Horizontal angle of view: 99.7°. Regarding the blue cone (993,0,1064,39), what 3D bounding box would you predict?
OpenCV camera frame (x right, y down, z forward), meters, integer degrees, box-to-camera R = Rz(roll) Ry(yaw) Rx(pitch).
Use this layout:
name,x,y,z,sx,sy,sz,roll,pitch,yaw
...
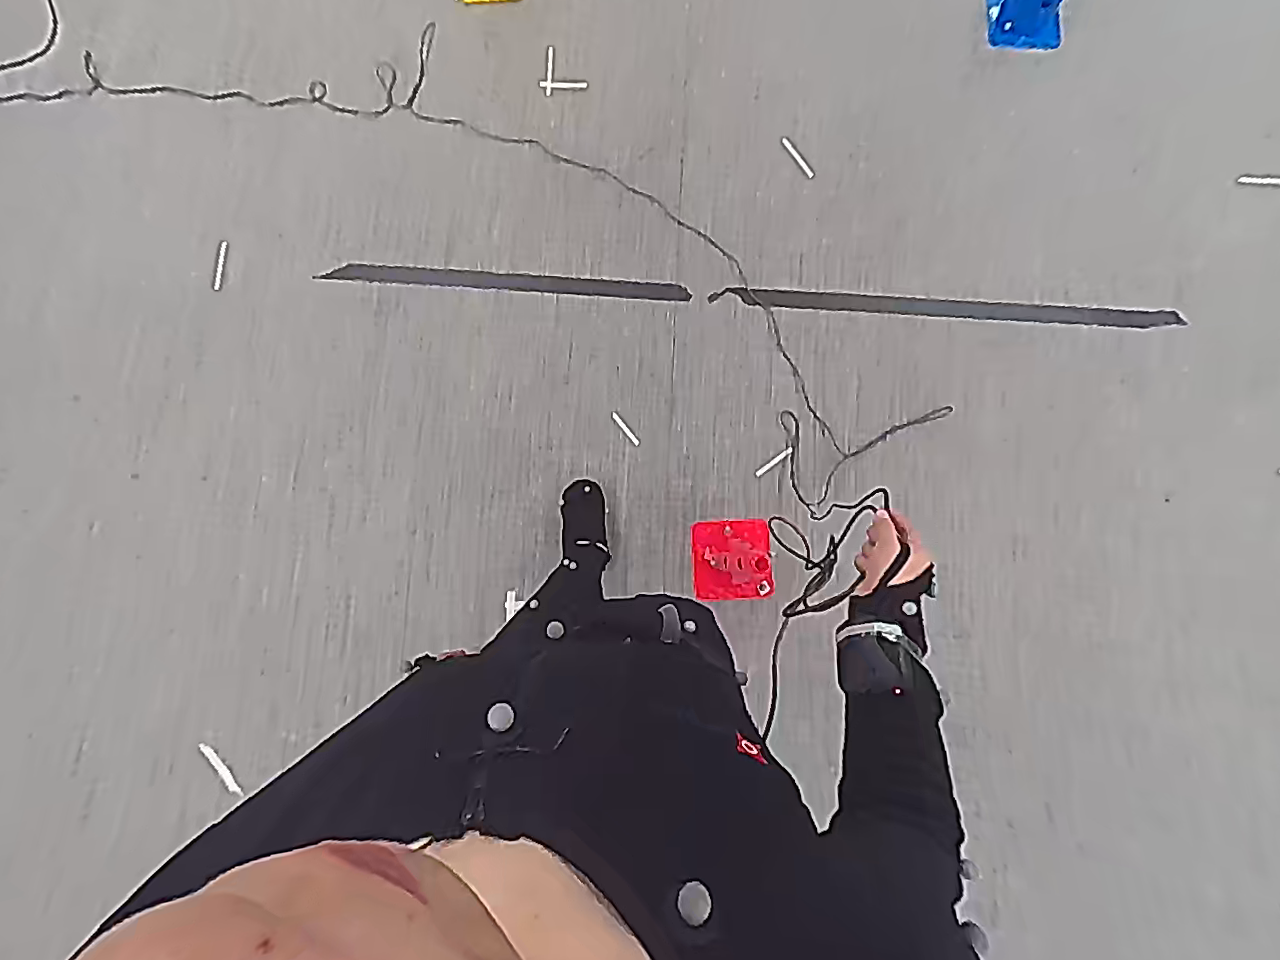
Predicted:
name,x,y,z,sx,sy,sz,roll,pitch,yaw
blue cone,1.085,-1.345,1.354,0.193,0.380,0.192,4,82,2

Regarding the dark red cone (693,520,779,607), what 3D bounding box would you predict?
name,x,y,z,sx,sy,sz,roll,pitch,yaw
dark red cone,0.230,0.181,1.156,0.202,0.394,0.201,-4,82,1
